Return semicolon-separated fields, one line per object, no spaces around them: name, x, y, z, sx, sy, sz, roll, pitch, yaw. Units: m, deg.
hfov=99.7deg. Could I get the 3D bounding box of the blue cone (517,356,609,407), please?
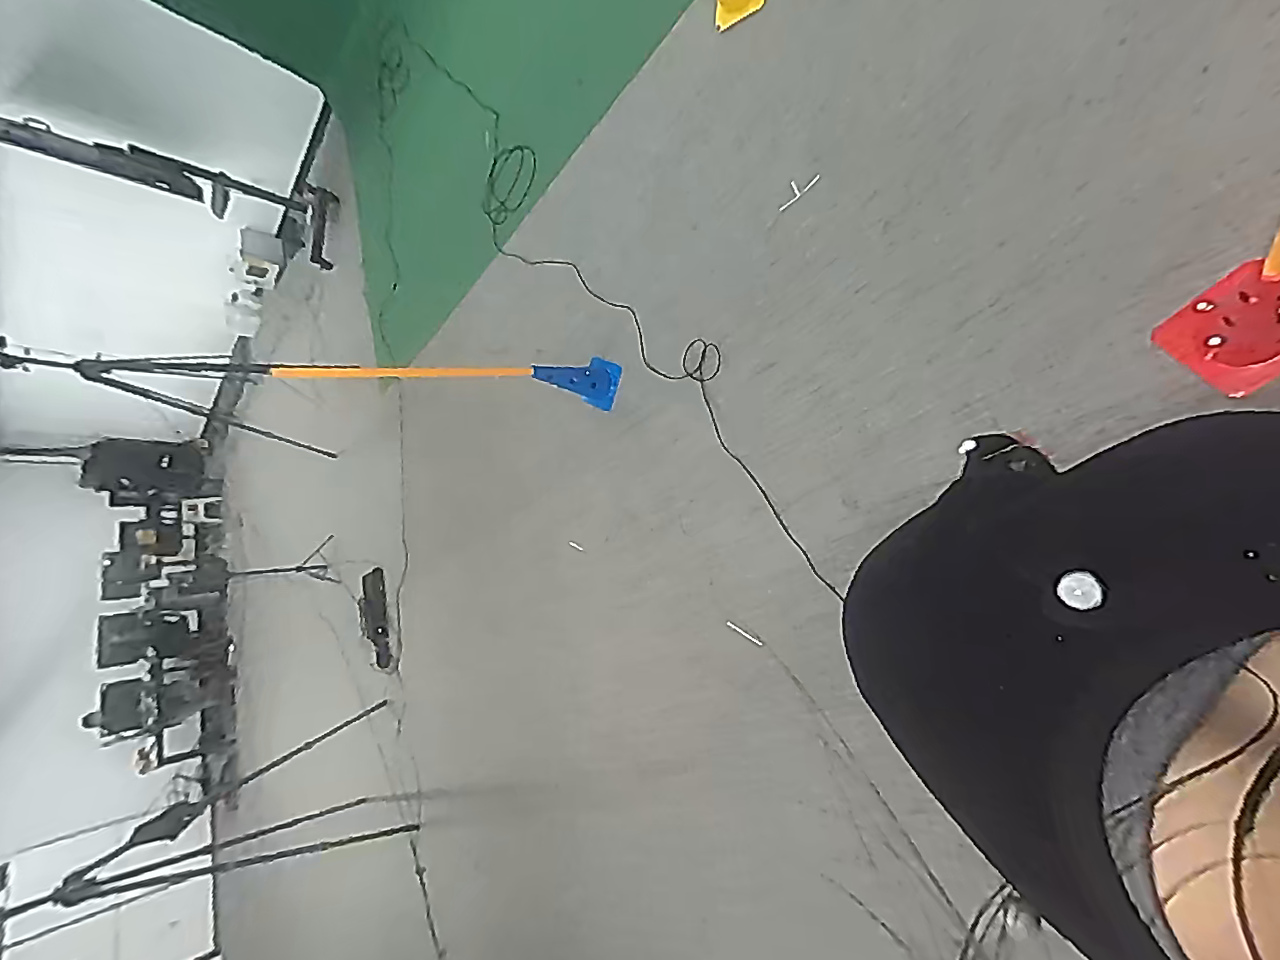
blue cone;-0.315;-0.409;2.135;0.192;0.380;0.193;27;109;39
